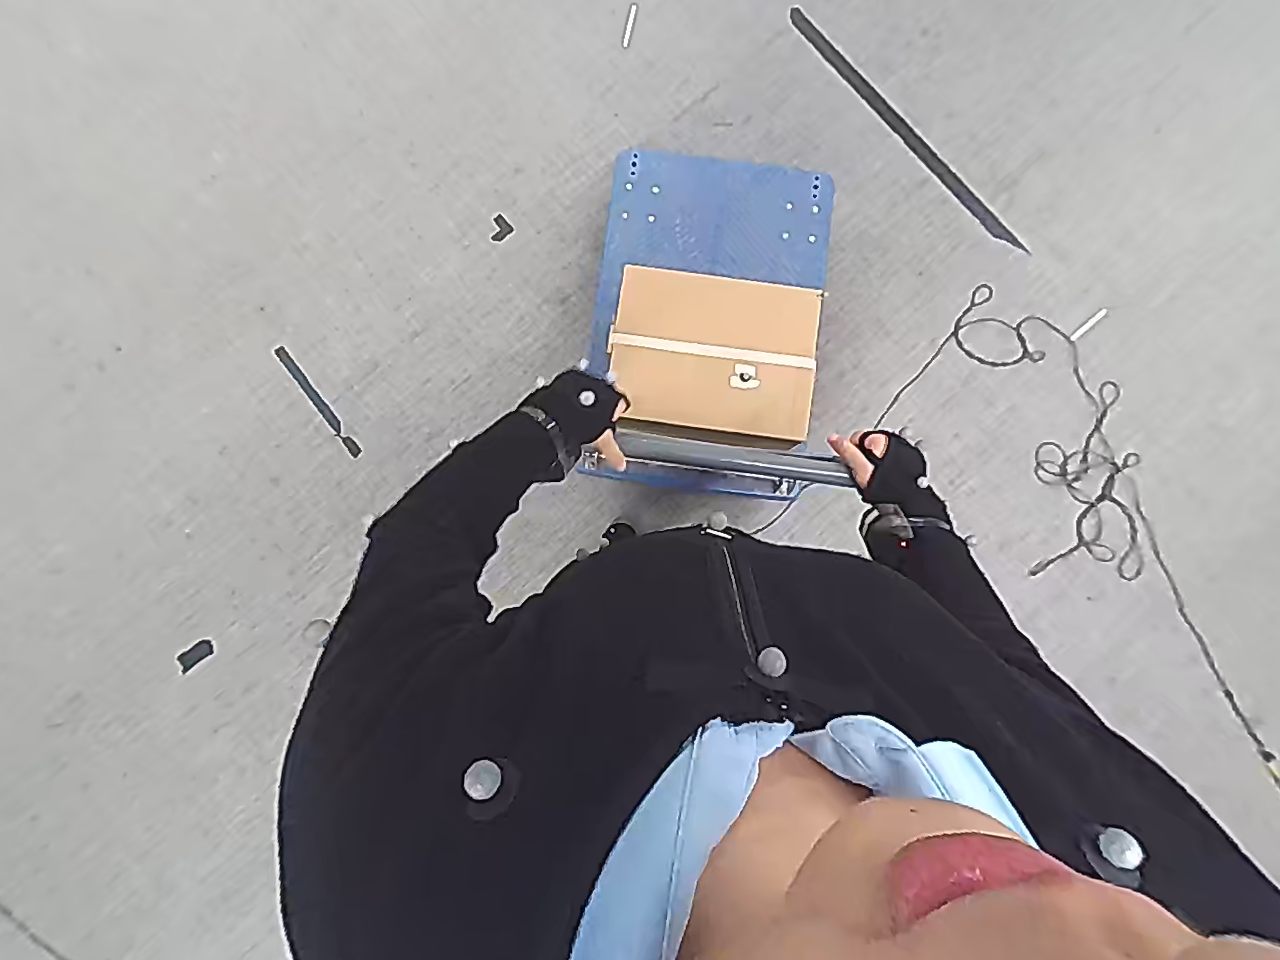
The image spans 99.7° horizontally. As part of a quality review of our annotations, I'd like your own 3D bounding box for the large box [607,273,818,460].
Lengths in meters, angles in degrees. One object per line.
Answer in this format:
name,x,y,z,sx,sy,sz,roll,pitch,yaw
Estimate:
large box,0.142,-0.234,1.227,0.408,0.320,0.320,8,86,-1
